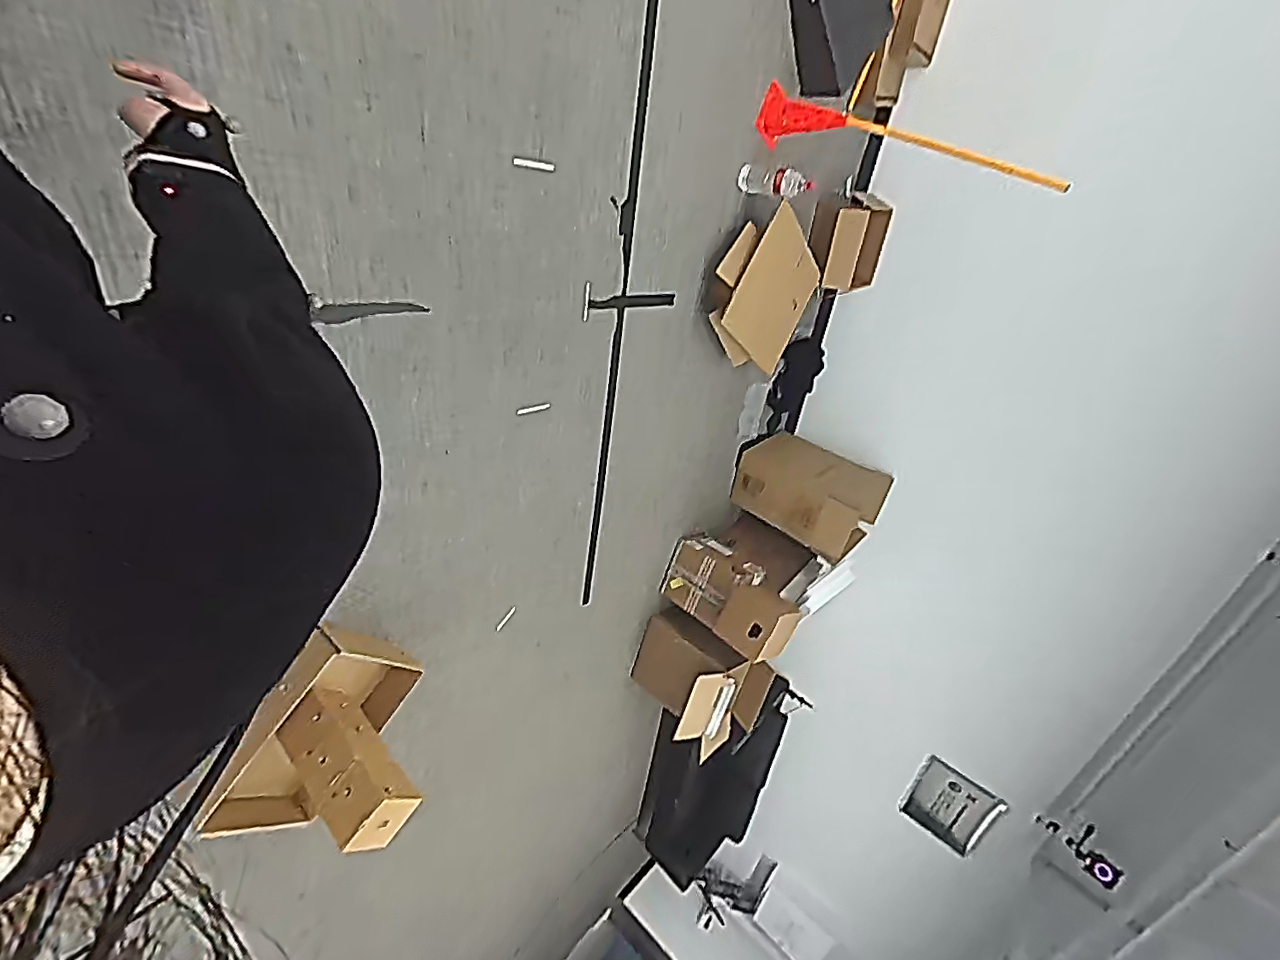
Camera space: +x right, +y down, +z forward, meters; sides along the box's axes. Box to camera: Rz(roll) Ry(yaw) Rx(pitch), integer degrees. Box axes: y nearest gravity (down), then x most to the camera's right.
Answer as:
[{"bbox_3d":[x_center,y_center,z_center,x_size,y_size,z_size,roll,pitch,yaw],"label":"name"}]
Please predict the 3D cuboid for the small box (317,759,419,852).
[{"bbox_3d":[-0.802,0.953,1.596,0.168,0.176,0.179,-52,148,-12],"label":"small box"}]

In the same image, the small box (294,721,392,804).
[{"bbox_3d":[-0.922,0.875,1.676,0.168,0.176,0.179,-51,147,-13],"label":"small box"}]
